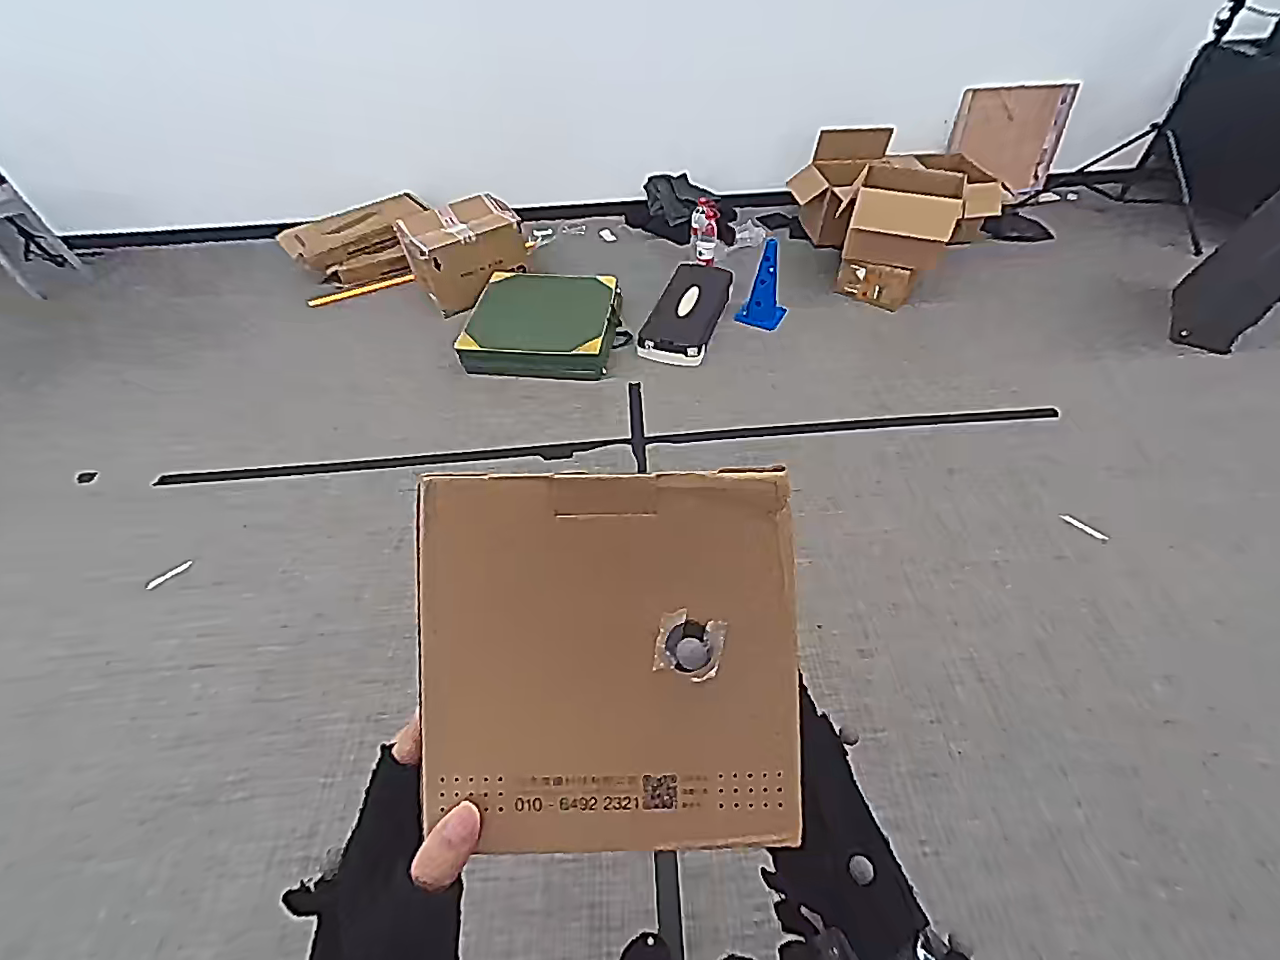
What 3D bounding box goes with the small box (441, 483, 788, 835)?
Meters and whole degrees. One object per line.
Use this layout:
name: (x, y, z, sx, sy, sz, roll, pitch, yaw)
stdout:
small box: (-0.009, 0.090, 0.337, 0.168, 0.179, 0.176, -1, 88, 1)
